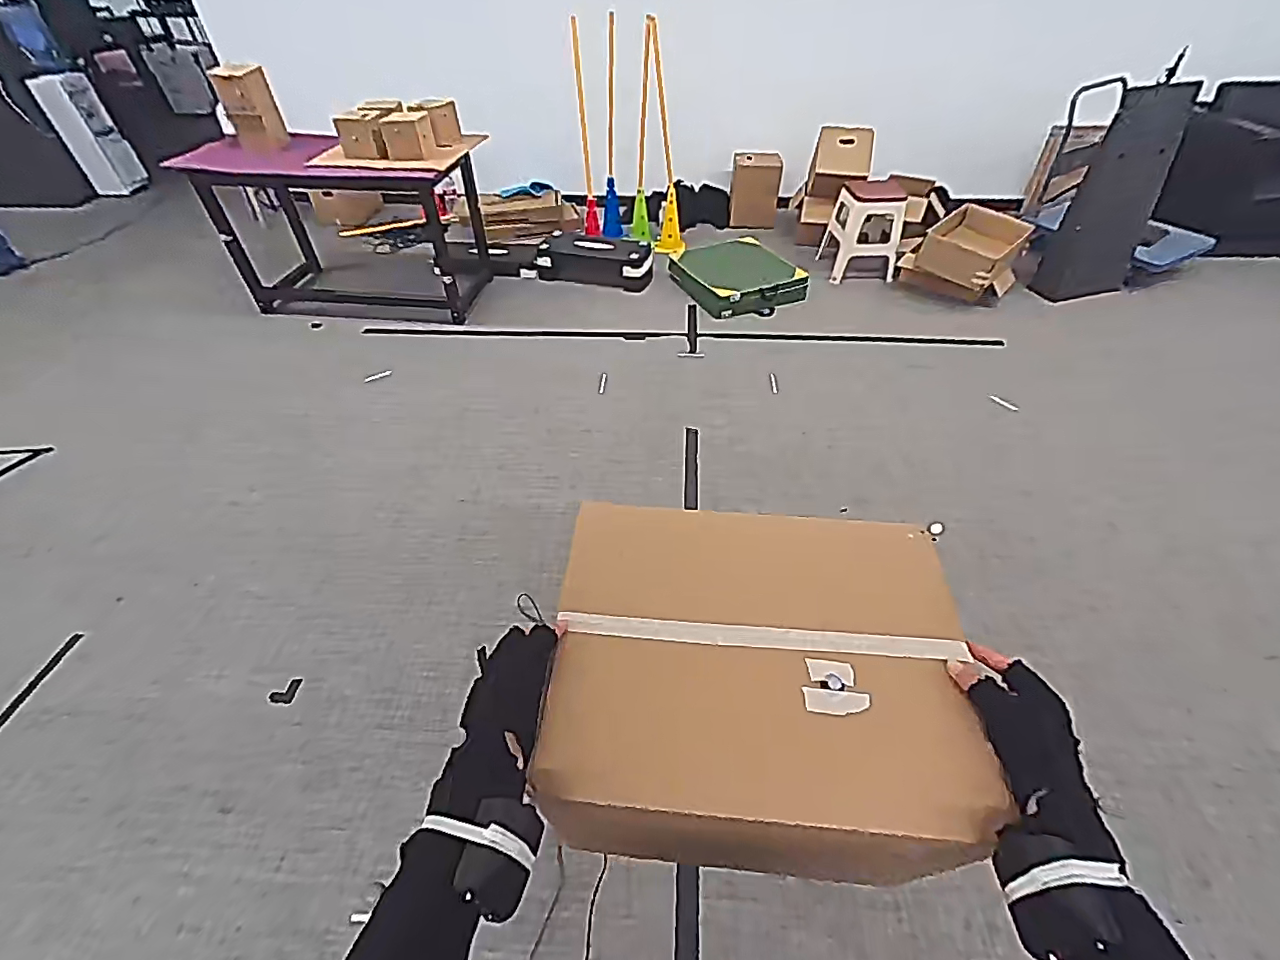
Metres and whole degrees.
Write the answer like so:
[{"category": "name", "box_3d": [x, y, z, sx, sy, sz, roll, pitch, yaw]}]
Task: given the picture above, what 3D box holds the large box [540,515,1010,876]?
[{"category": "large box", "box_3d": [0.121, 0.265, 0.663, 0.408, 0.320, 0.320, 3, 50, 4]}]
